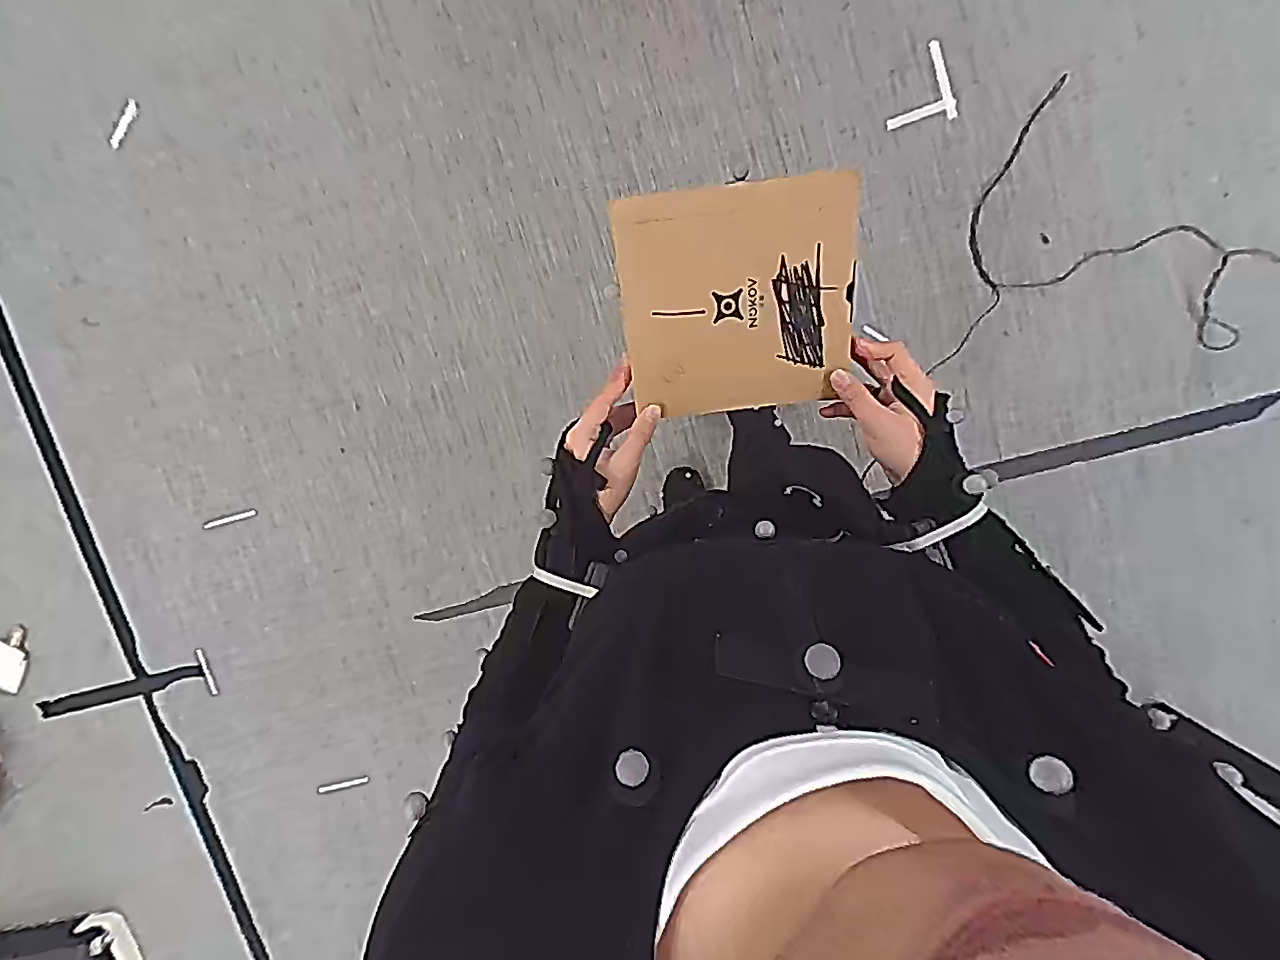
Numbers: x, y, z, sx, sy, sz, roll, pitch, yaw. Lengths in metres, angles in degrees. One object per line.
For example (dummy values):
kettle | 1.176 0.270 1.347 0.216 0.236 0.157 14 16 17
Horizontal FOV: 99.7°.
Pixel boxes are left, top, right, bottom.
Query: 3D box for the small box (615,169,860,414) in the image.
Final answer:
small box | 0.074 -0.173 0.483 0.179 0.176 0.168 -7 116 2
